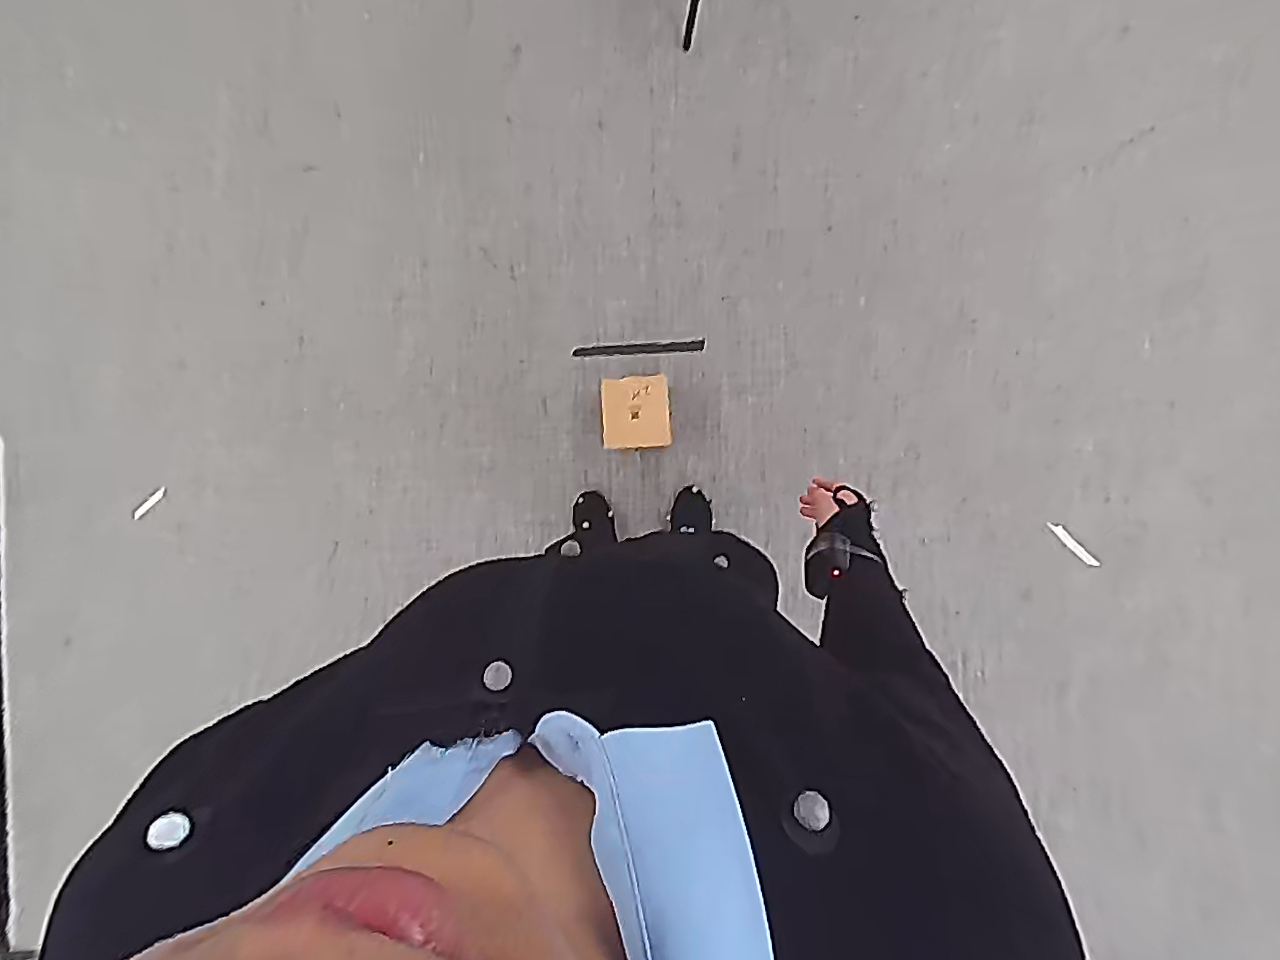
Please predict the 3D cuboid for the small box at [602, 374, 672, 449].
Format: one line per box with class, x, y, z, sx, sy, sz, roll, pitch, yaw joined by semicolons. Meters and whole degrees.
small box;-0.003;-0.171;1.406;0.168;0.176;0.179;-3;90;4
